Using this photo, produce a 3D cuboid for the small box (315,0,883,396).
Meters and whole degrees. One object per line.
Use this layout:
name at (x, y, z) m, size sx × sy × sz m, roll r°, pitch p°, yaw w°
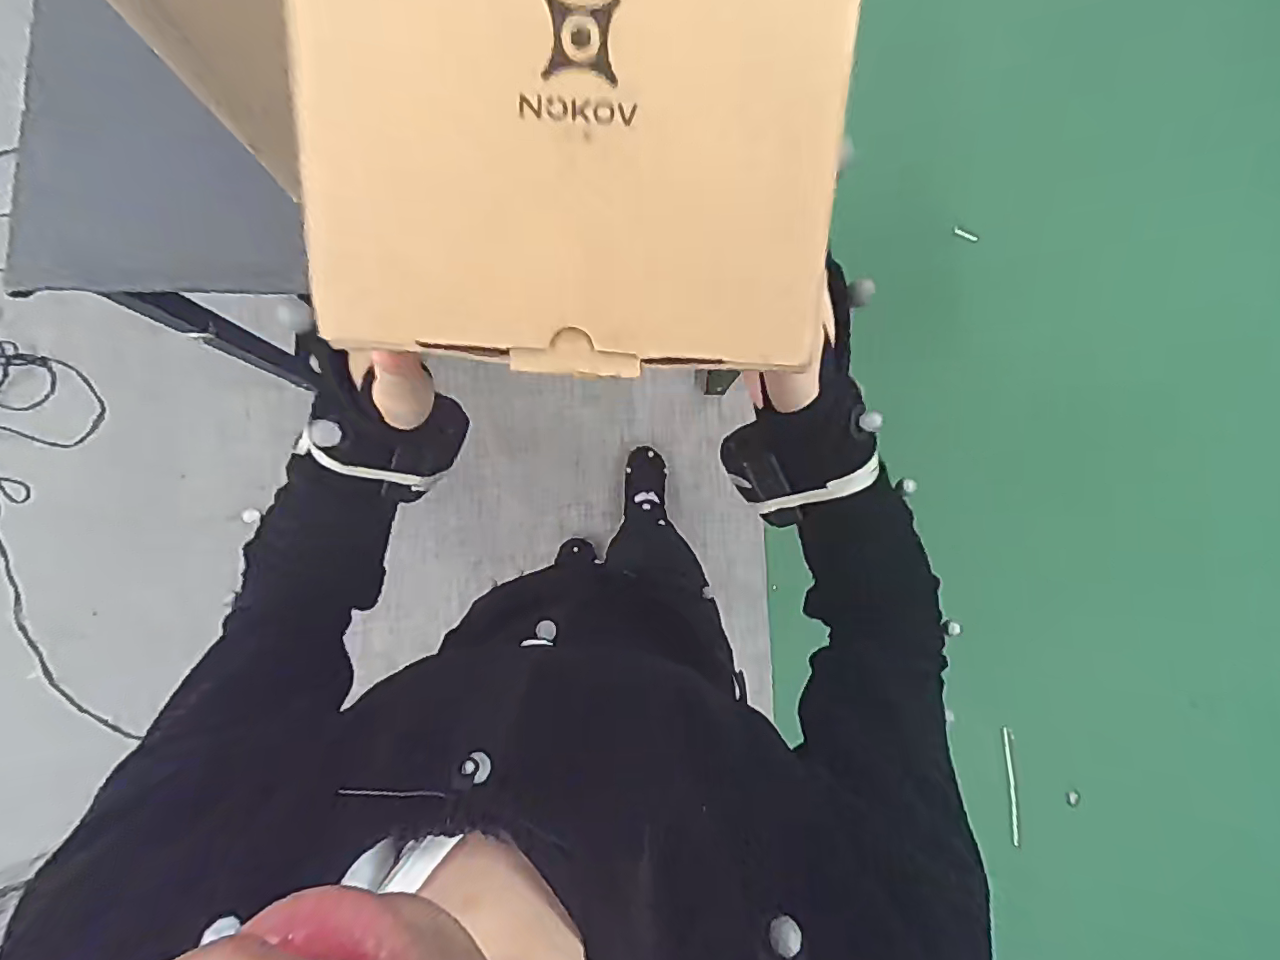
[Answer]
small box at (-0.017, -0.139, 0.240) m, size 0.168 × 0.176 × 0.179 m, roll 2°, pitch 107°, yaw -4°
